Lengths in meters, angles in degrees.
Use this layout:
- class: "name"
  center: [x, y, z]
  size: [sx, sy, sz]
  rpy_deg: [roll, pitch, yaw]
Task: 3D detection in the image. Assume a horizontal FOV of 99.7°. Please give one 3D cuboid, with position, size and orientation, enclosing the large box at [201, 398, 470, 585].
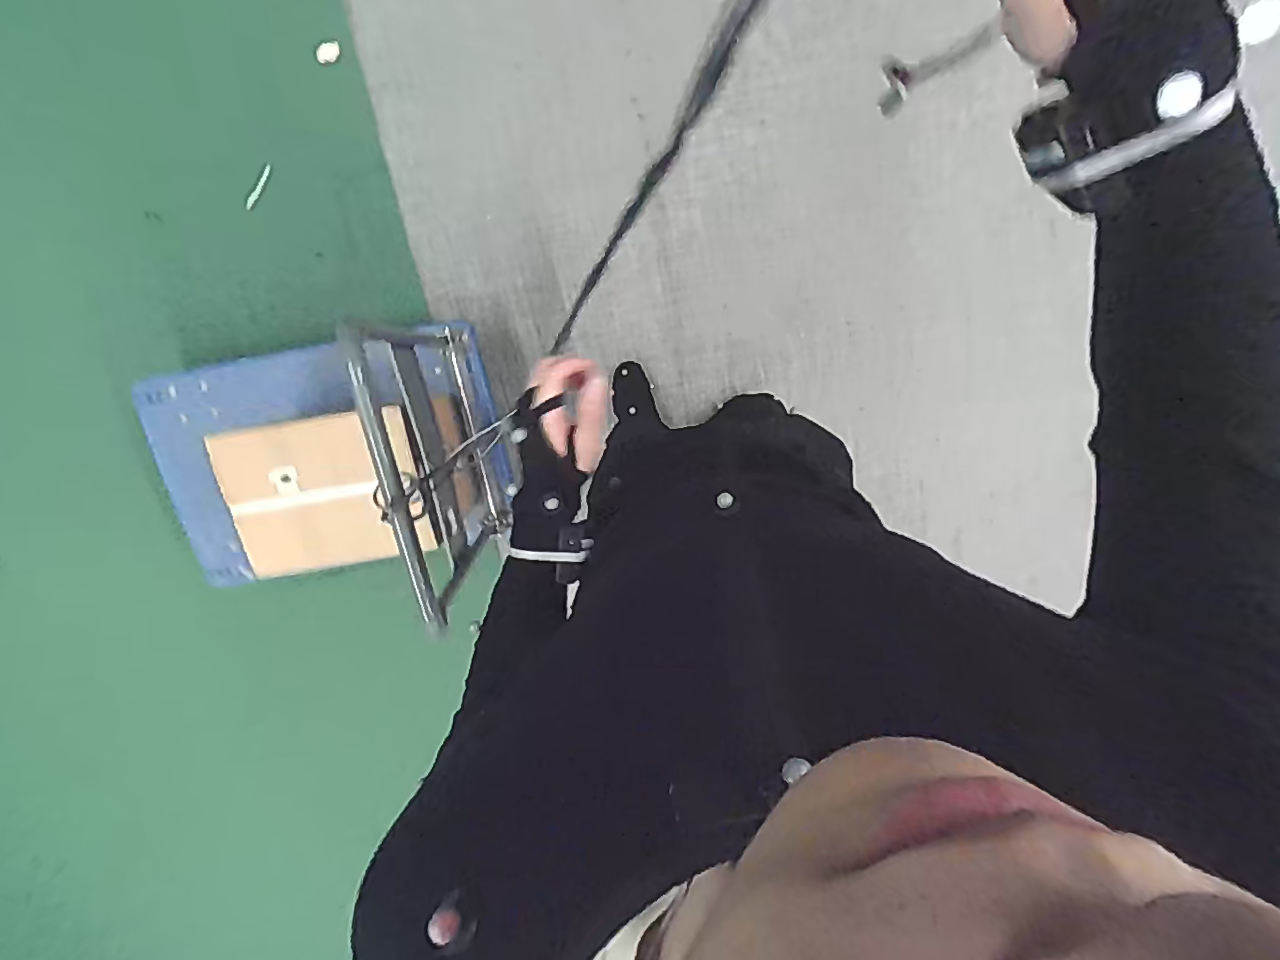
- class: "large box"
  center: [-0.664, 0.008, 1.259]
  size: [0.408, 0.320, 0.320]
  rpy_deg: [-10, 103, 0]
